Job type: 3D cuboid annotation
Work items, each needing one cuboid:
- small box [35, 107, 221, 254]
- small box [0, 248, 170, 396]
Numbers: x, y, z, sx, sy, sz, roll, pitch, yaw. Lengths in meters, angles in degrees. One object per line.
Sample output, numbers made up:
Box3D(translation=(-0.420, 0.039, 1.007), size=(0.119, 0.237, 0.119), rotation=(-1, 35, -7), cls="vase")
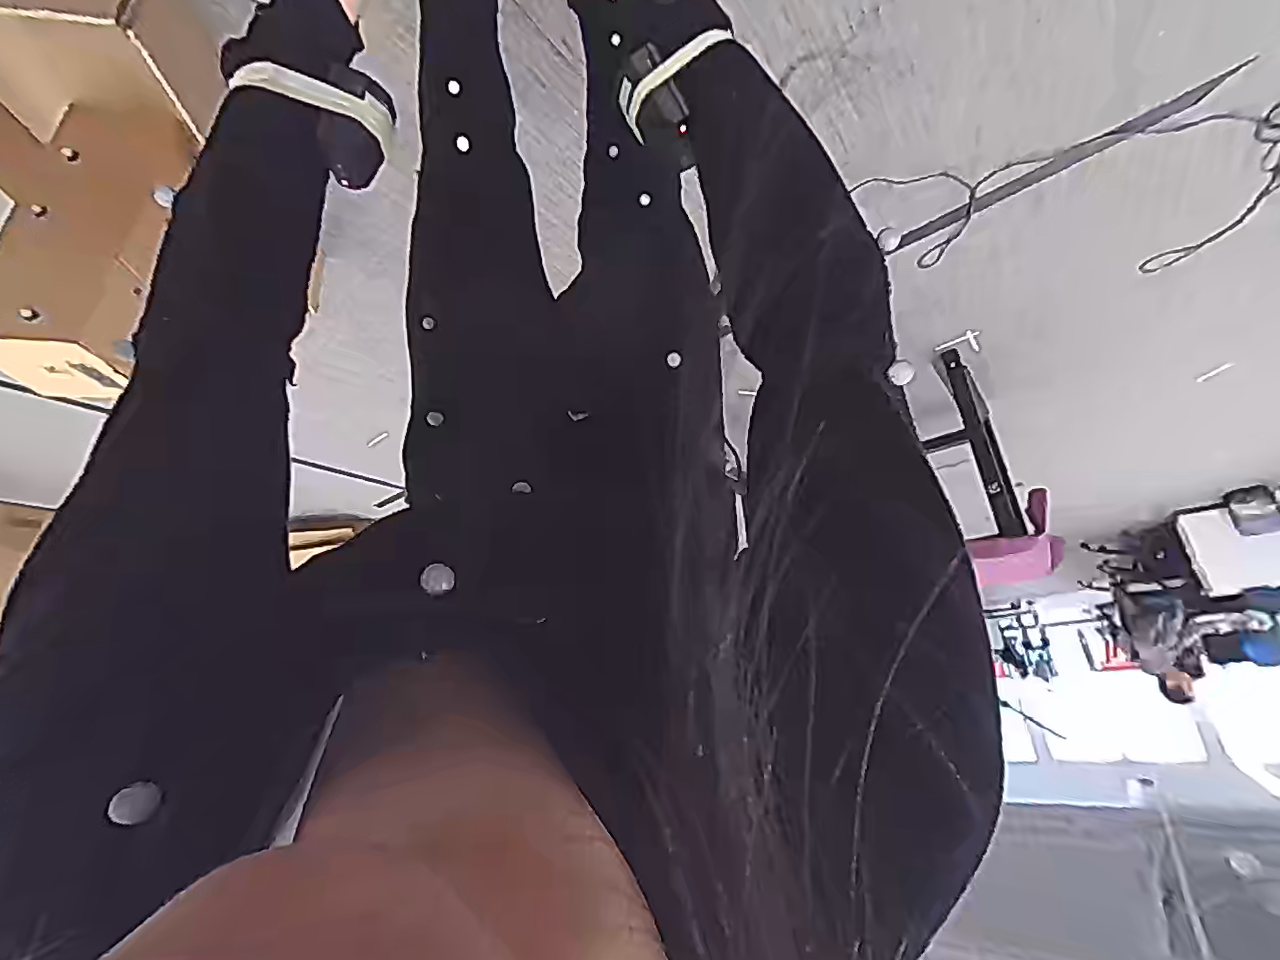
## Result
Box3D(translation=(-0.933, -0.555, 1.007), size=(0.179, 0.176, 0.168), rotation=(1, 158, -11), cls="small box")
Box3D(translation=(-0.921, -0.253, 0.883), size=(0.179, 0.176, 0.168), rotation=(1, 158, -8), cls="small box")
